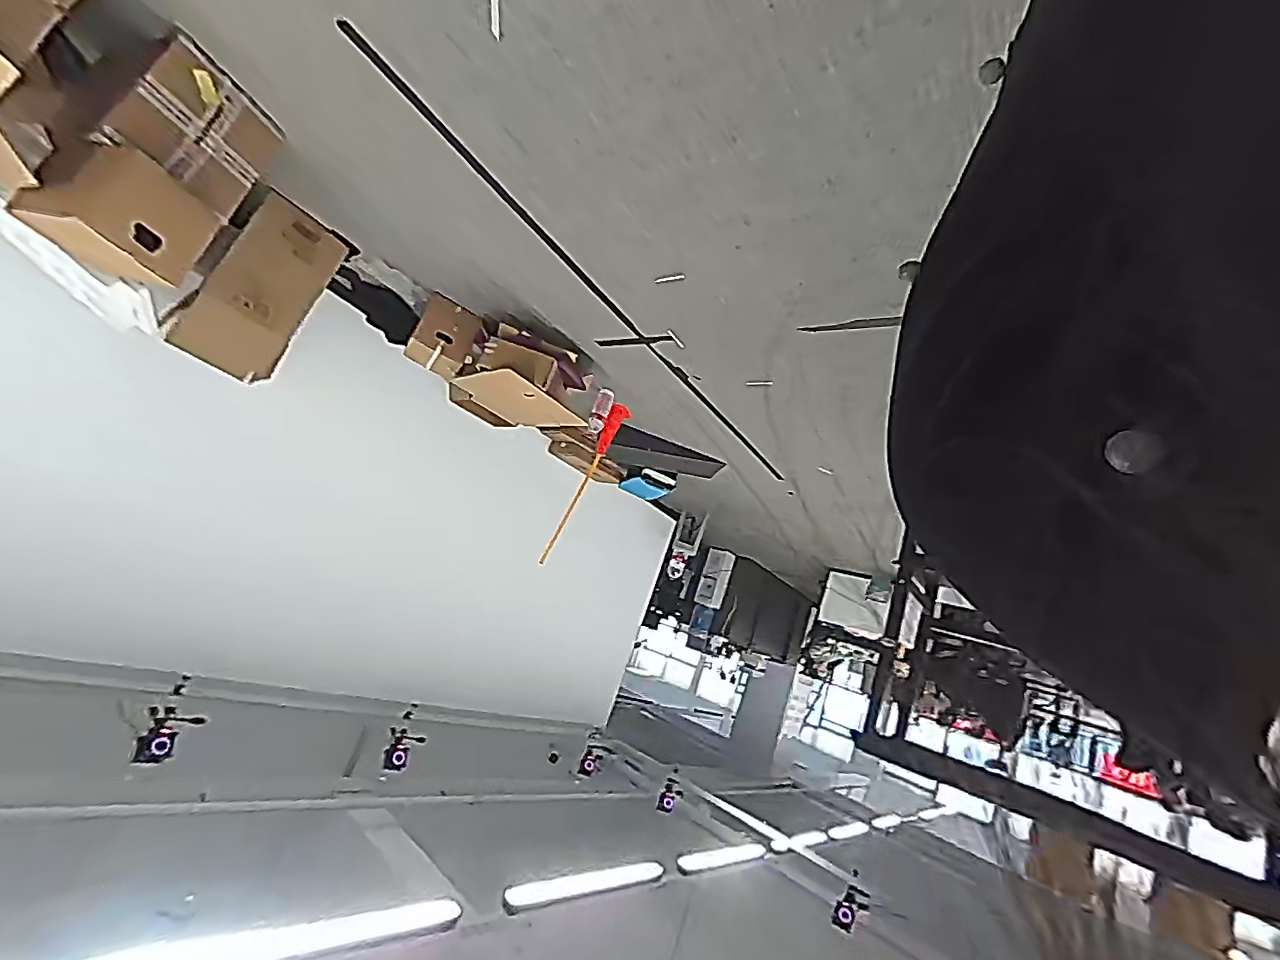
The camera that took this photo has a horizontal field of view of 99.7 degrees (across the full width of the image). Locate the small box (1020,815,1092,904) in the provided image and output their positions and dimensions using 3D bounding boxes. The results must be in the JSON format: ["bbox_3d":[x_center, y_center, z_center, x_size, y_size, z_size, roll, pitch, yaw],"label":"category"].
[{"bbox_3d":[1.326,1.200,1.728,0.168,0.176,0.179,8,163,38],"label":"small box"}]
